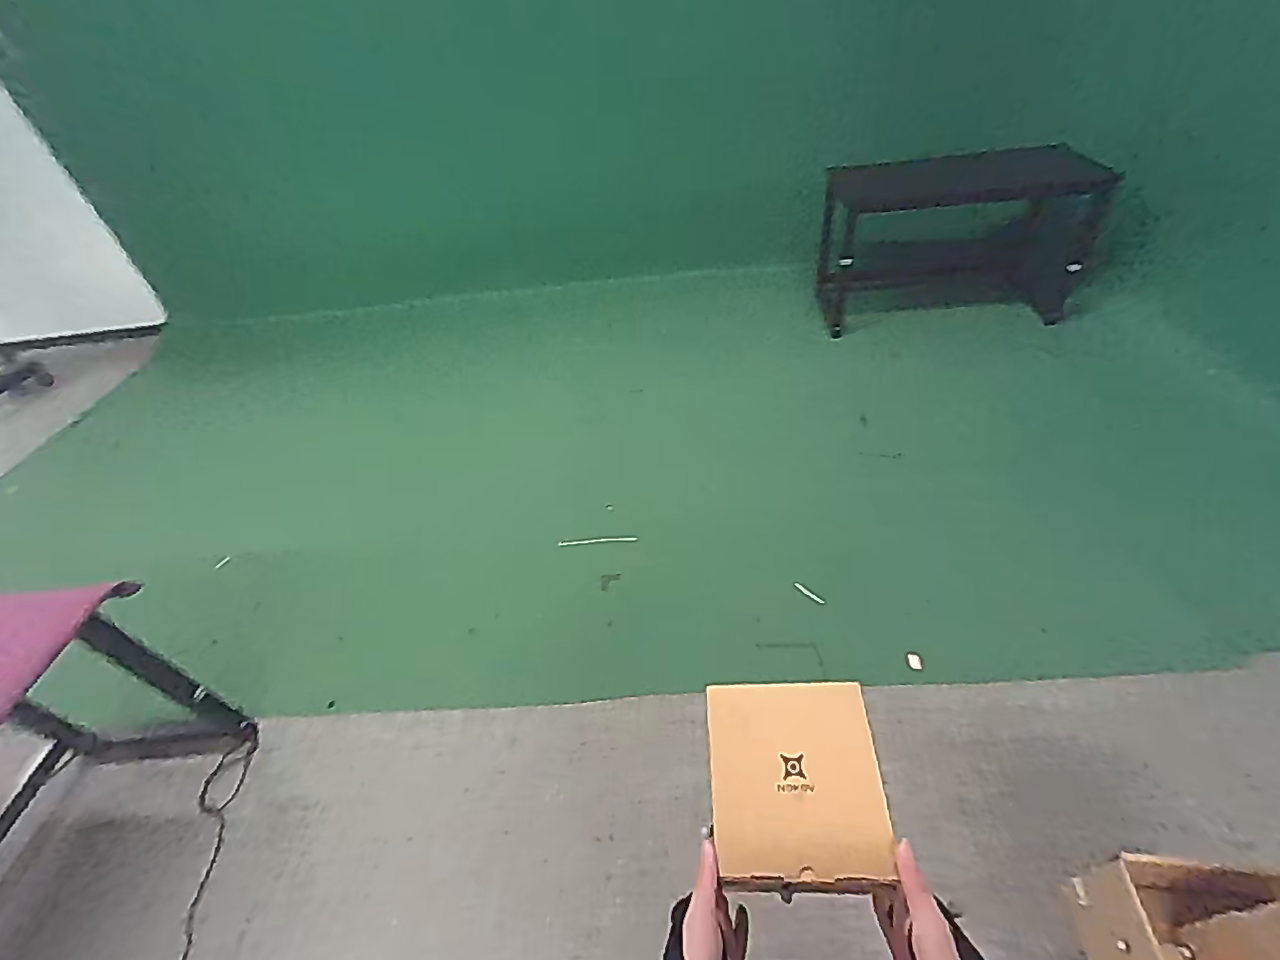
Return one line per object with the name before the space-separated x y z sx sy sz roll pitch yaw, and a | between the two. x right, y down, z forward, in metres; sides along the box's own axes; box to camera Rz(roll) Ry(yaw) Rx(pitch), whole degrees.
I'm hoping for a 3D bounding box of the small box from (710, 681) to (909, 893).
small box | 0.162 0.335 0.588 0.168 0.176 0.179 -4 52 6
